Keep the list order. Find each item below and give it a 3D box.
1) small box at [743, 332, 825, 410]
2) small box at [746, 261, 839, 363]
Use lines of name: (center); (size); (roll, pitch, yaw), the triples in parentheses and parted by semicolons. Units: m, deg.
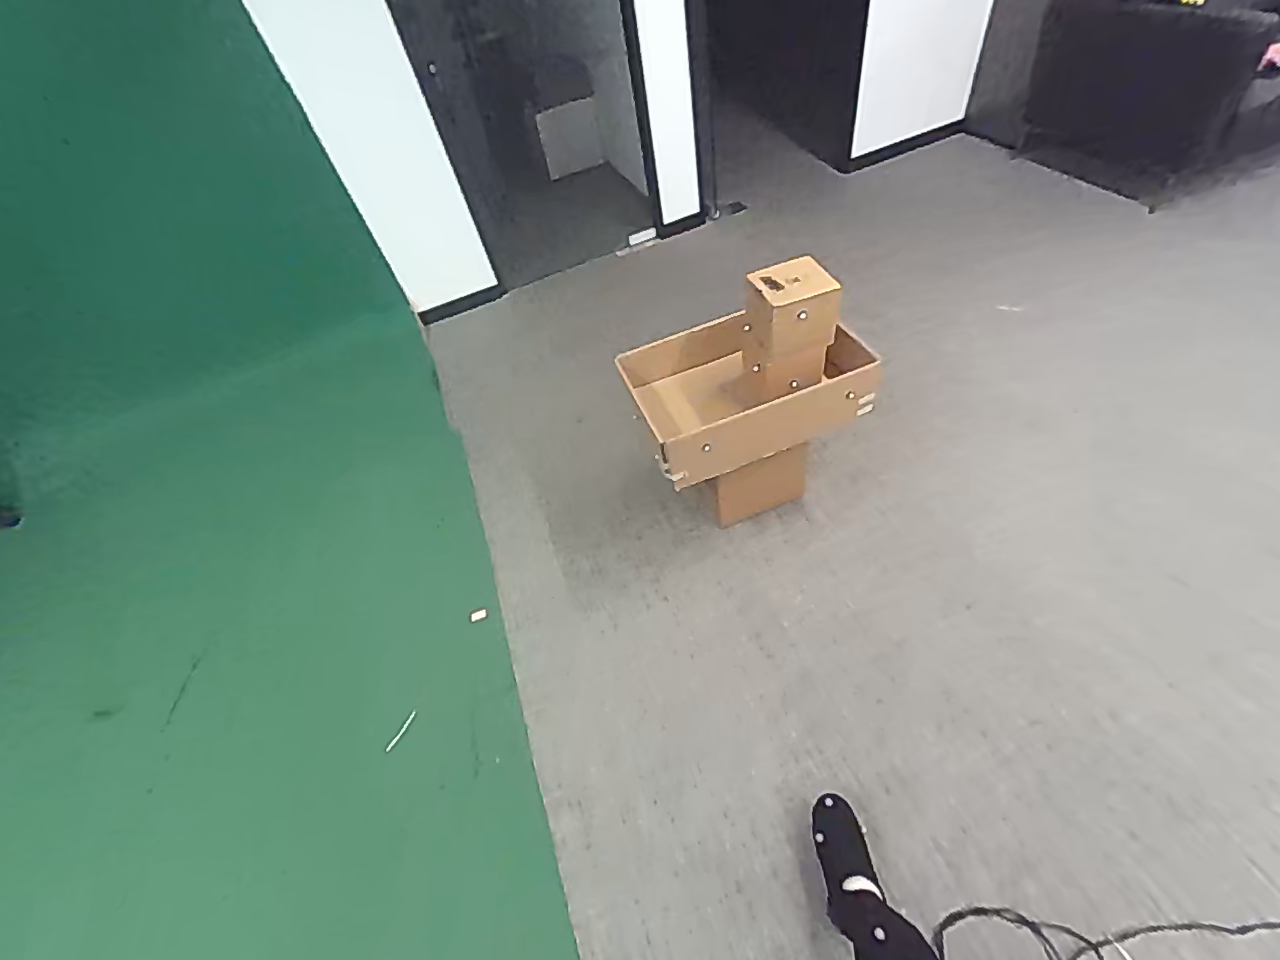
small box: (0.397, -0.316, 1.505); (0.168, 0.176, 0.179); (-17, 49, -3)
small box: (0.384, -0.424, 1.382); (0.179, 0.176, 0.168); (-18, 49, -4)
